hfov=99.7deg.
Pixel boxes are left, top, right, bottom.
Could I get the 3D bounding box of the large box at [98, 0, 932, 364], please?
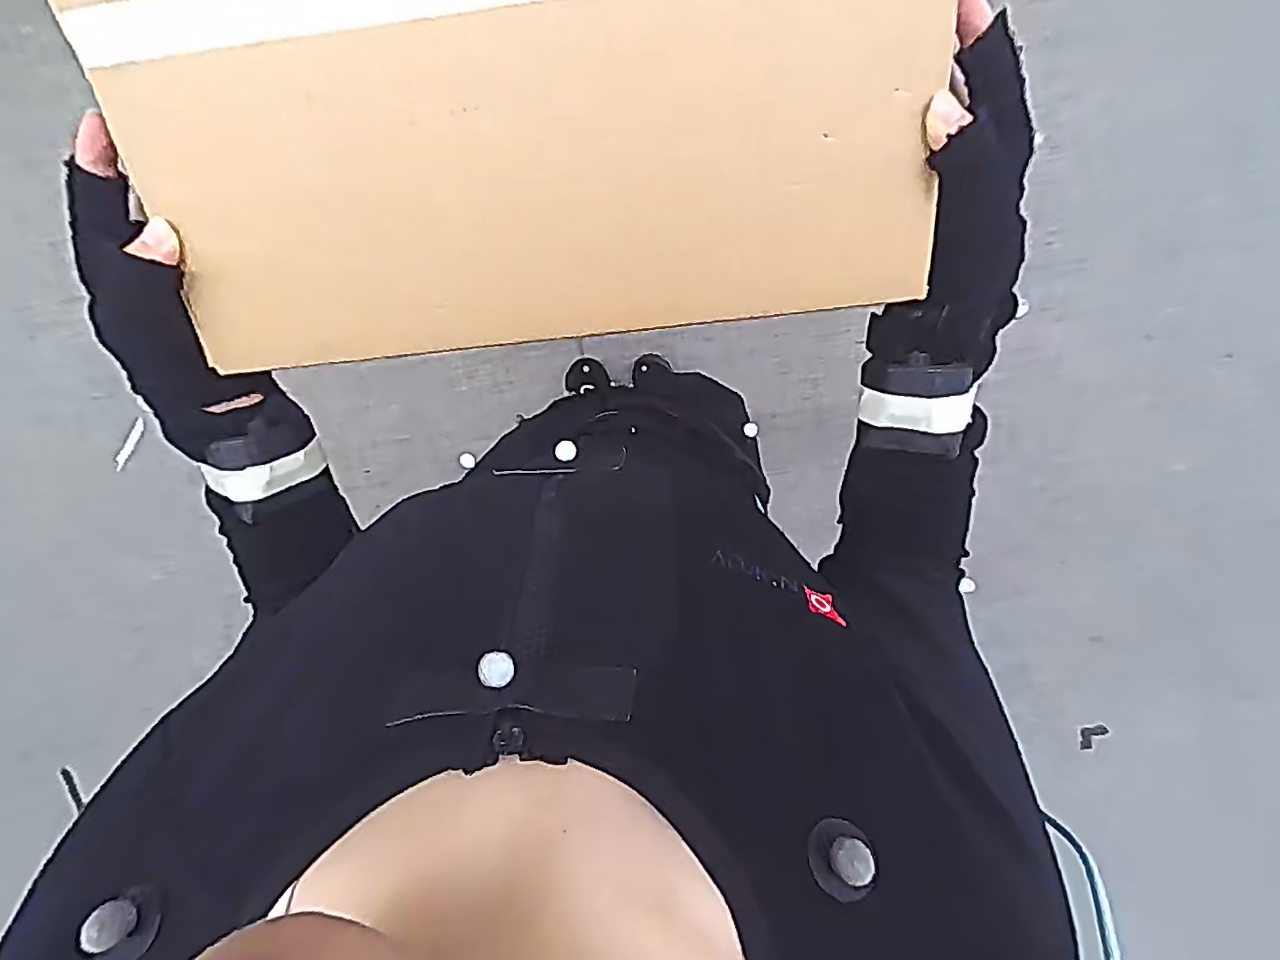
[{"bbox_3d":[-0.061,-0.288,0.393,0.408,0.320,0.320,-6,114,3],"label":"large box"}]
